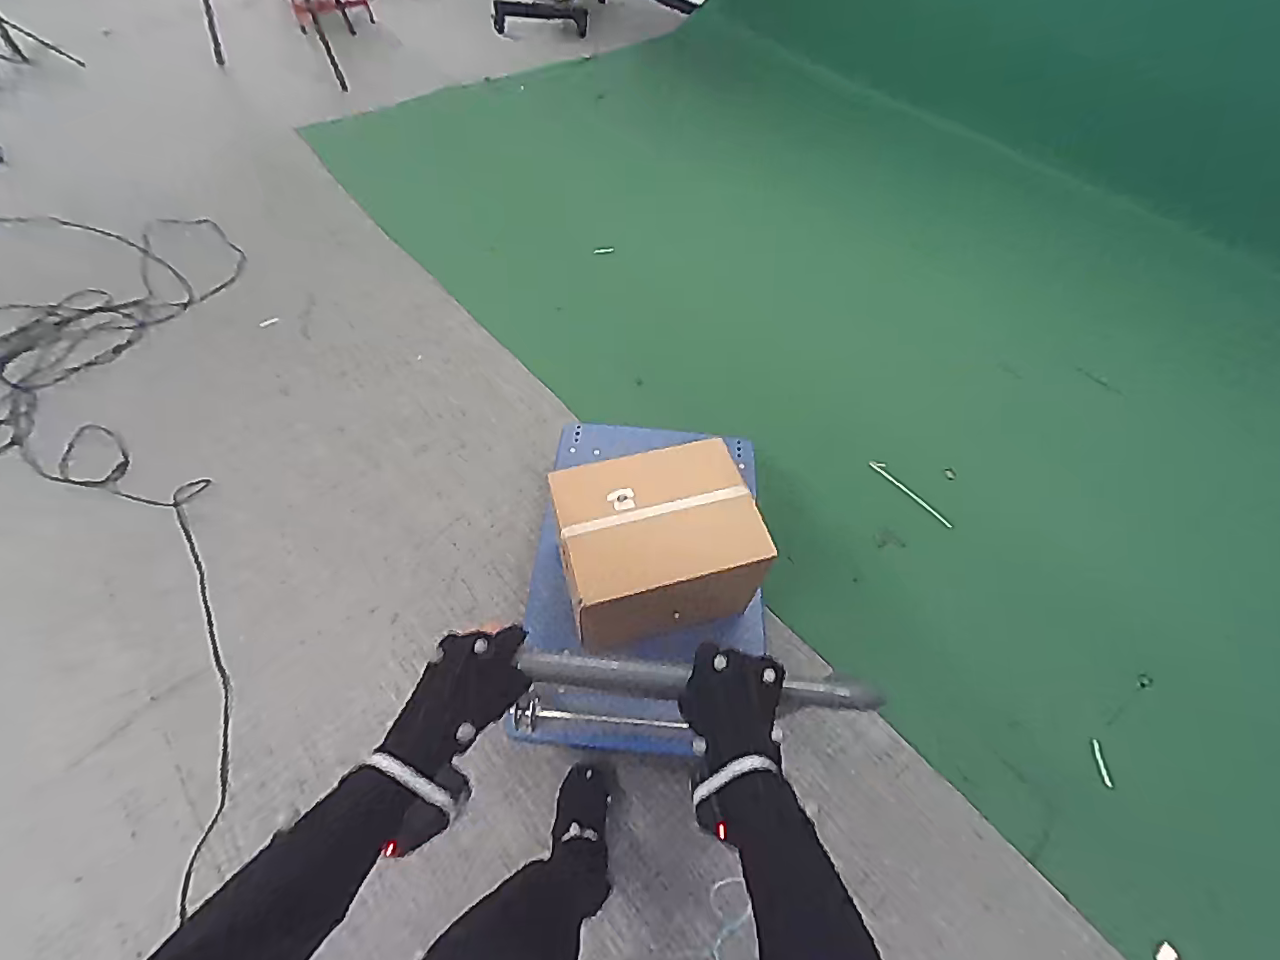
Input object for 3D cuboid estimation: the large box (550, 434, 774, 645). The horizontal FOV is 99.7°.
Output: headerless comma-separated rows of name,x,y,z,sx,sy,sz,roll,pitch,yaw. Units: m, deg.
large box,0.034,0.142,1.243,0.408,0.320,0.320,-13,58,-11
